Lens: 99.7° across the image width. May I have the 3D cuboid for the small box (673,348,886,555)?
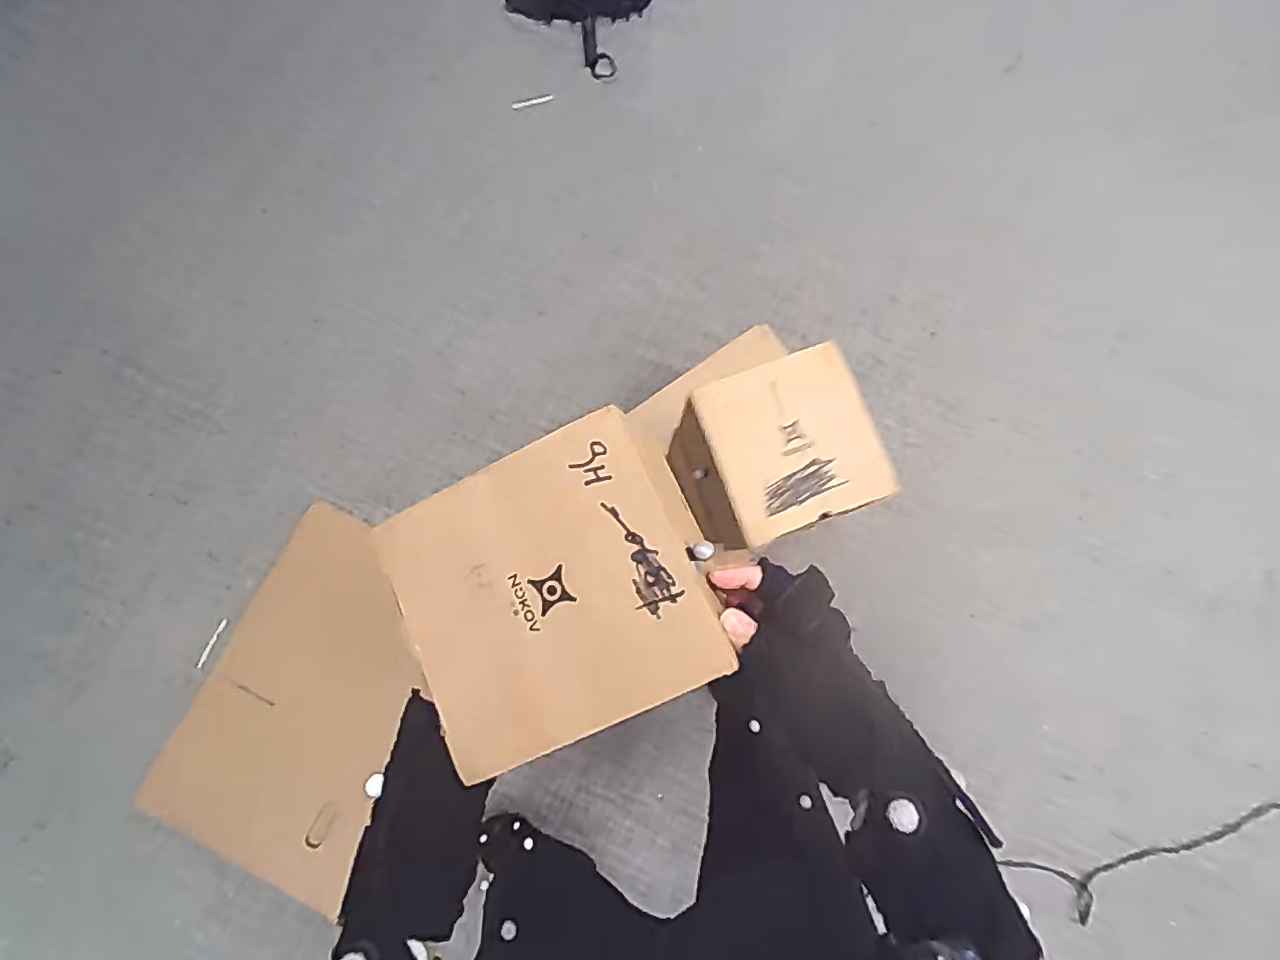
[{"bbox_3d":[0.148,-0.024,0.640,0.168,0.176,0.179,-23,84,-3],"label":"small box"}]

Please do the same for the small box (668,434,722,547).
[{"bbox_3d":[0.149,-0.006,0.804,0.179,0.176,0.168,-21,82,-1],"label":"small box"}]
